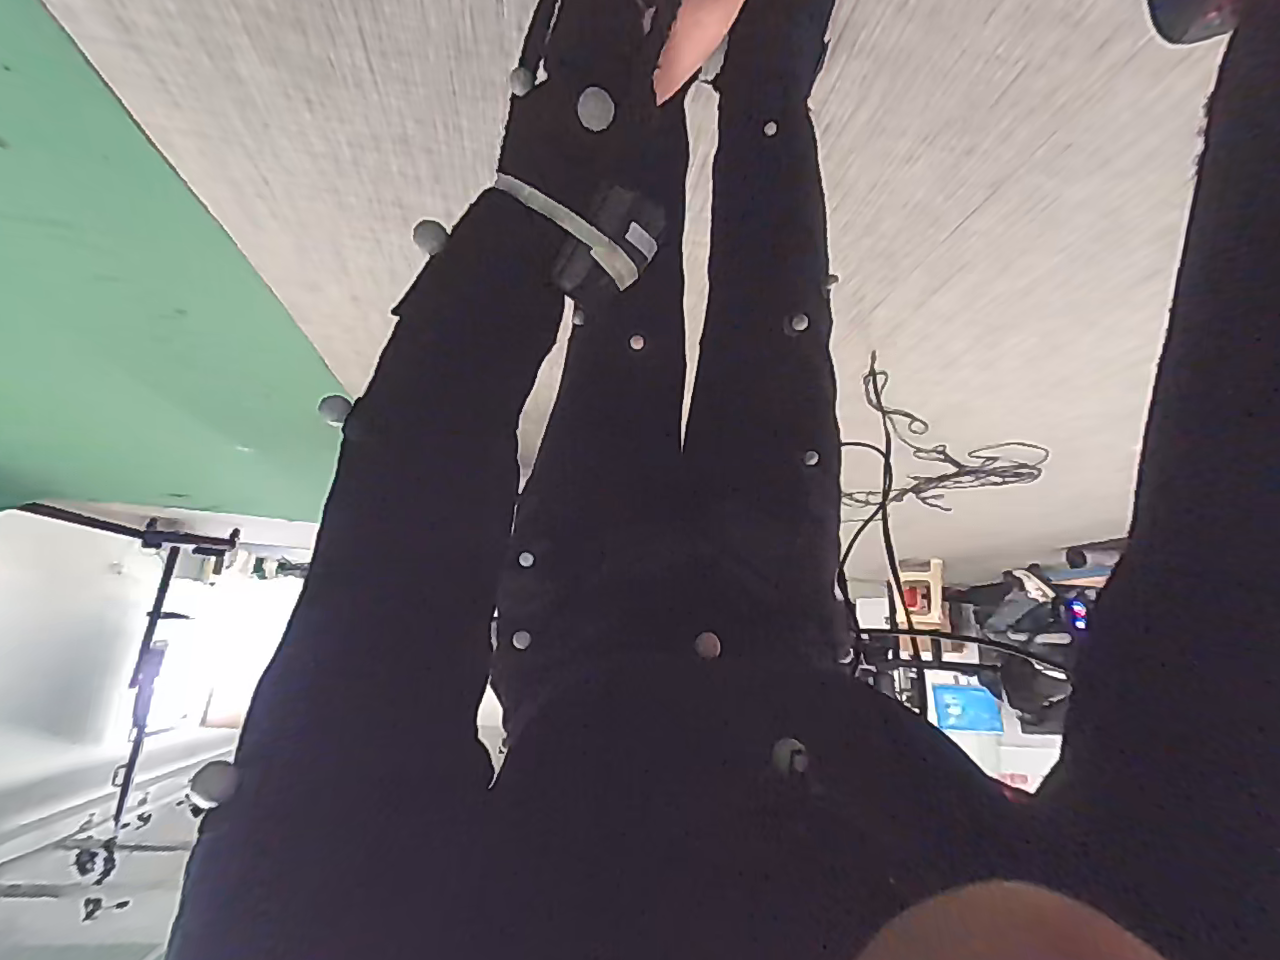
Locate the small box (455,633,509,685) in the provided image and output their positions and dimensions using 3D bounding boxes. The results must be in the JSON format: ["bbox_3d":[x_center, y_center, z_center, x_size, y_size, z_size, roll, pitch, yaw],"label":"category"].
[{"bbox_3d":[-0.569,0.647,1.962,0.168,0.176,0.179,6,162,-10],"label":"small box"}]
